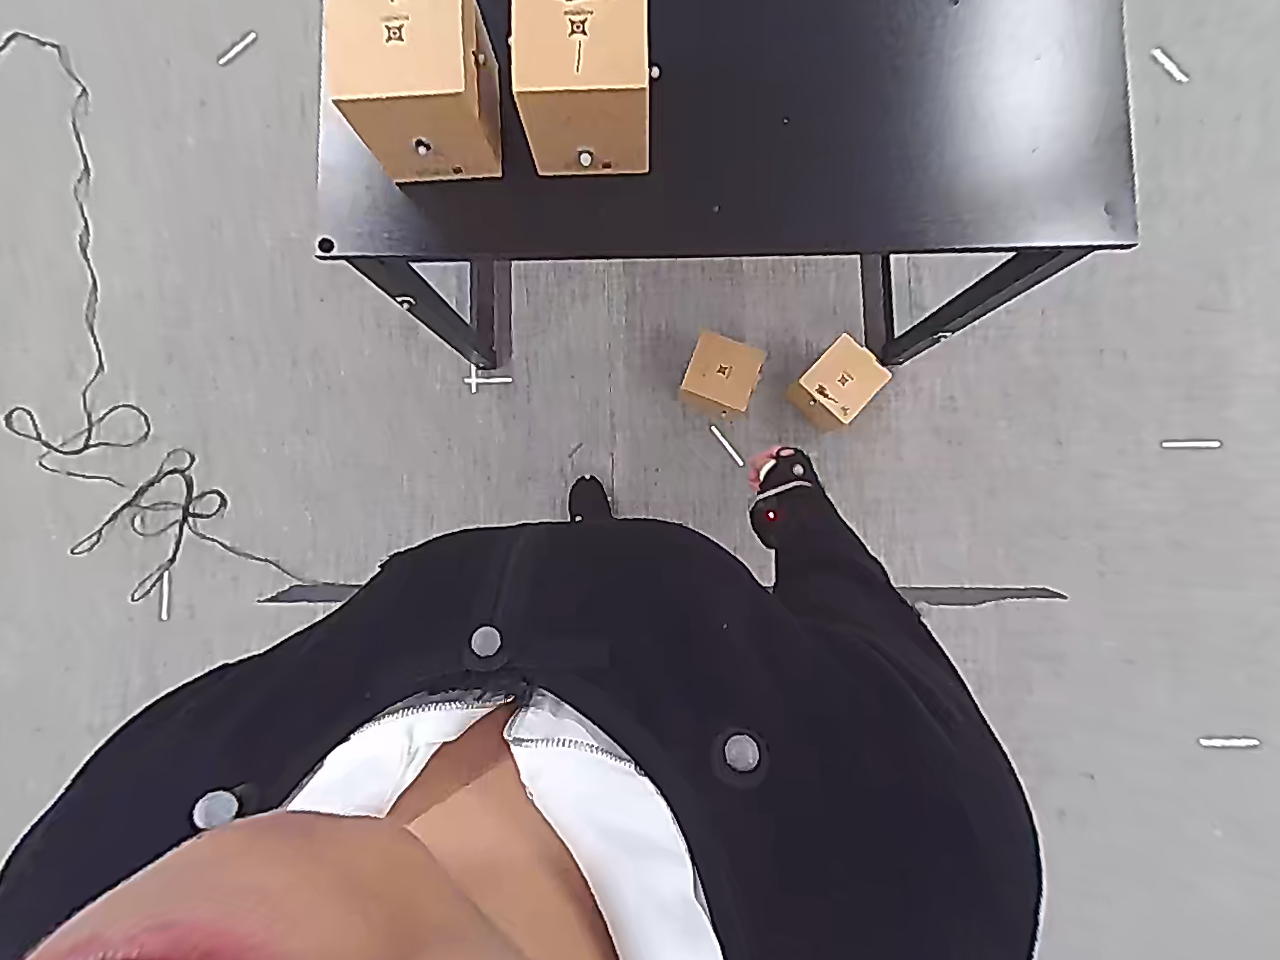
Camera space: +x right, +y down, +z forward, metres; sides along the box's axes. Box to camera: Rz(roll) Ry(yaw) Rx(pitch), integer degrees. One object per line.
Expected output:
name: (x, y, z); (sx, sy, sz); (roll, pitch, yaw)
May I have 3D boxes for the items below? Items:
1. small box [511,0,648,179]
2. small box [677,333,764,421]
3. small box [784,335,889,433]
small box: (-0.073, -0.543, 0.733); (0.168, 0.176, 0.179); (-1, 87, 1)
small box: (0.207, -0.266, 1.445); (0.179, 0.176, 0.168); (20, 87, 3)
small box: (0.510, -0.246, 1.436); (0.168, 0.176, 0.179); (43, 88, 3)
